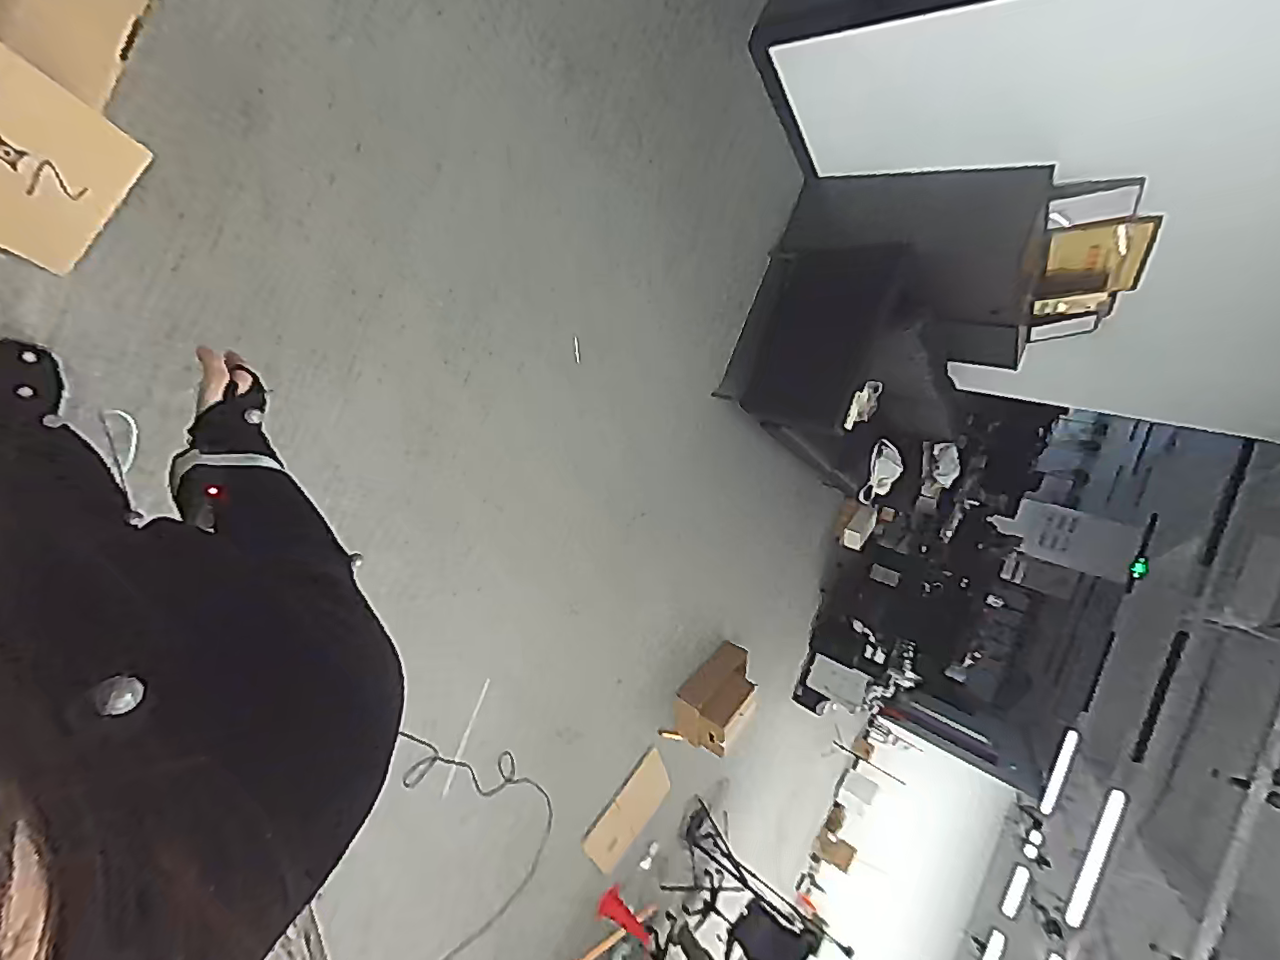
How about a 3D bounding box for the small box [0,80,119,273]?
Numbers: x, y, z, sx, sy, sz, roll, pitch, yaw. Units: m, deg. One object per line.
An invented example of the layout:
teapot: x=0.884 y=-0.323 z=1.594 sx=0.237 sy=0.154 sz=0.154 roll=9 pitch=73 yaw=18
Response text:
small box: x=-0.791 y=-0.376 z=0.652 sx=0.168 sy=0.176 sz=0.179 roll=30 pitch=80 yaw=-54
